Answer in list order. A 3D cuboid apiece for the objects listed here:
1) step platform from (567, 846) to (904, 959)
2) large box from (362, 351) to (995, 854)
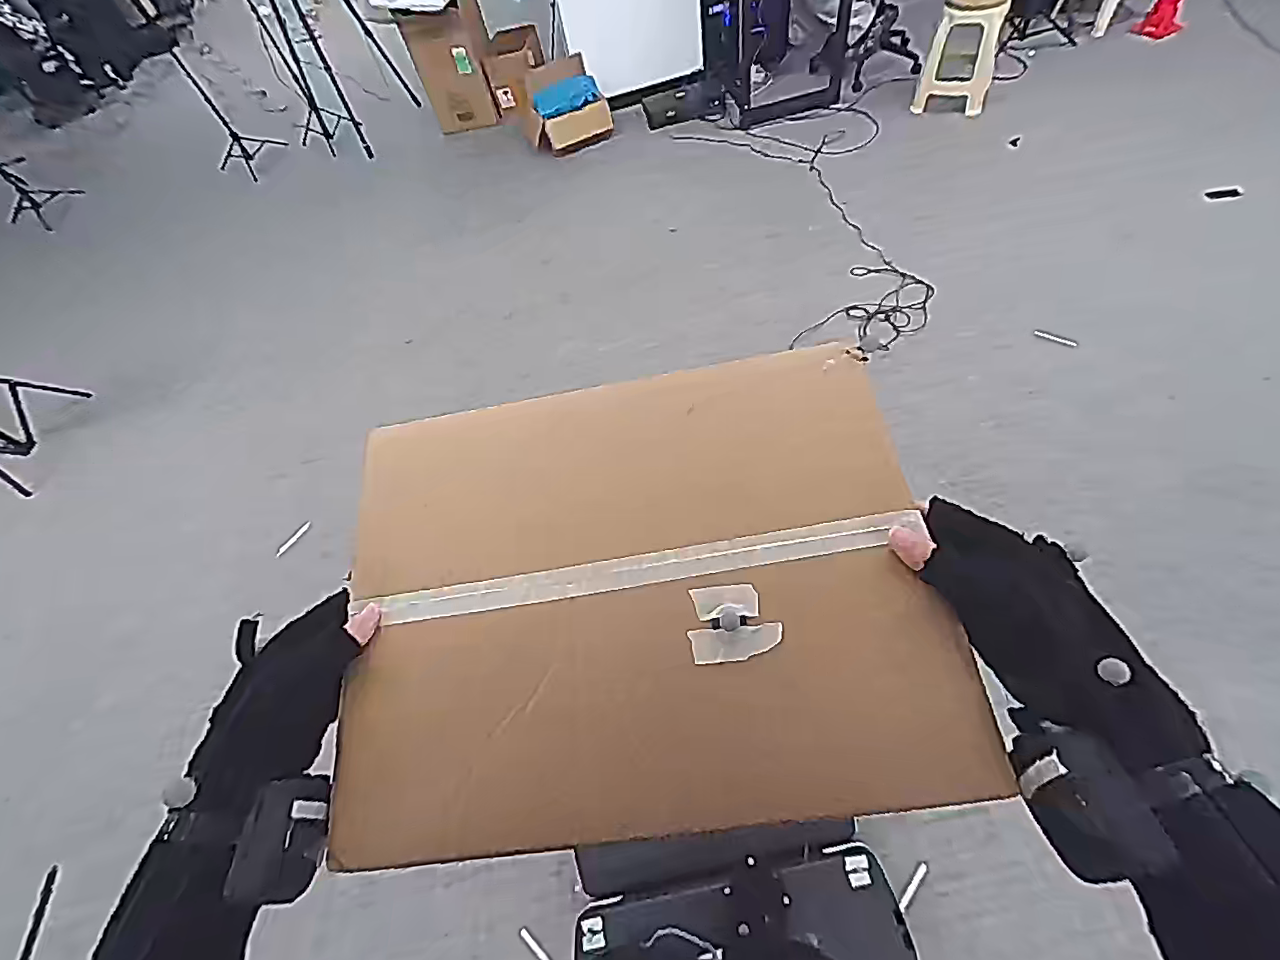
[{"bbox_3d":[0.191,1.004,1.131,0.684,0.204,0.286,-16,55,3],"label":"step platform"},{"bbox_3d":[0.017,0.127,0.526,0.408,0.320,0.320,-10,66,5],"label":"large box"}]
